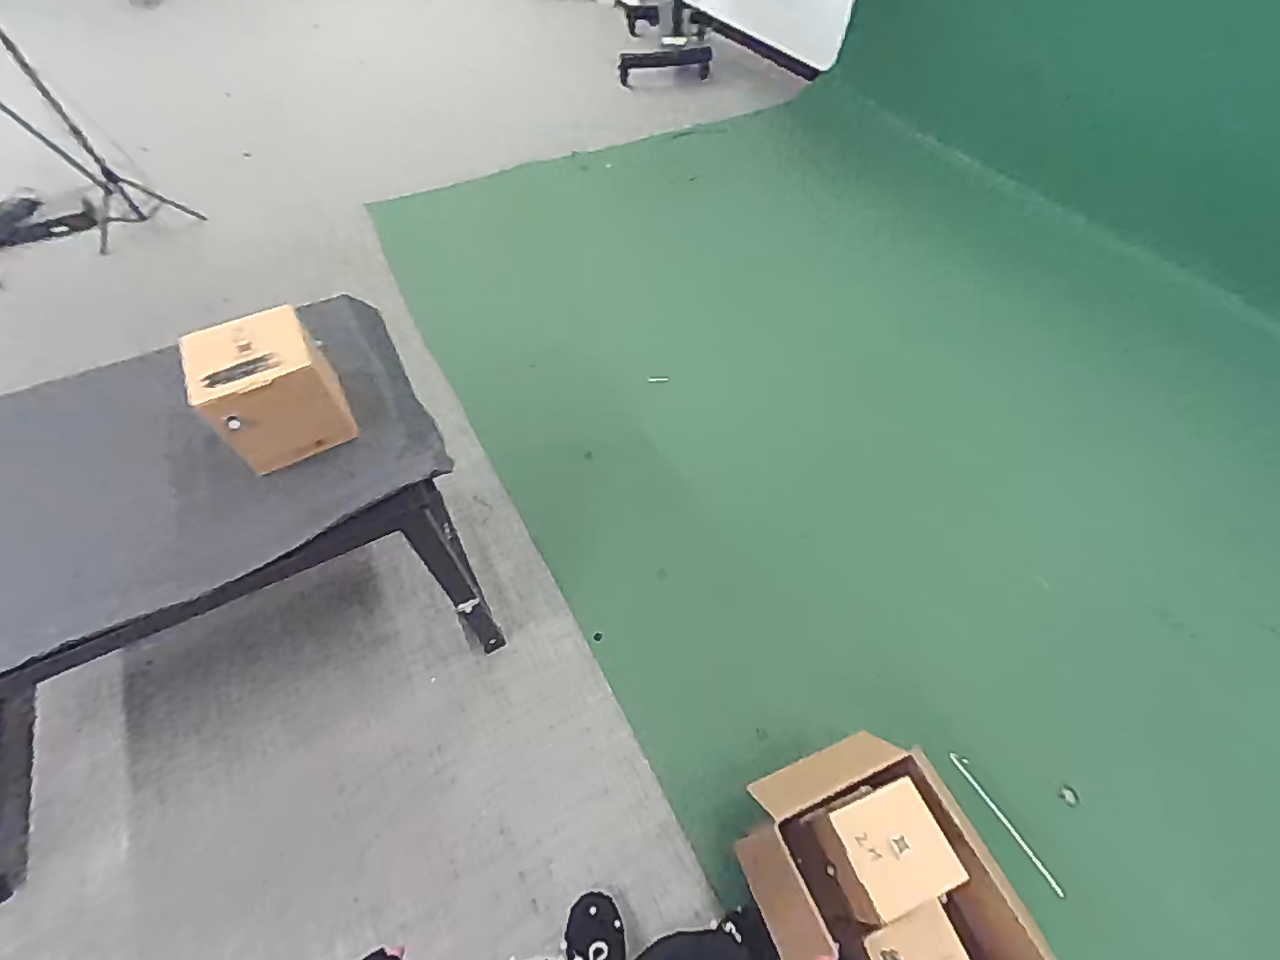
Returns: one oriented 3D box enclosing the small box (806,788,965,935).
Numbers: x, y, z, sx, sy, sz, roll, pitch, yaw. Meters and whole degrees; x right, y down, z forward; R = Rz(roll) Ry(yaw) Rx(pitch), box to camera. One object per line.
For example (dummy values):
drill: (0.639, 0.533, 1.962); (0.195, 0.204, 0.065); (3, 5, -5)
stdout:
small box: (0.435, 0.692, 0.990); (0.179, 0.176, 0.168); (-16, 54, -12)
